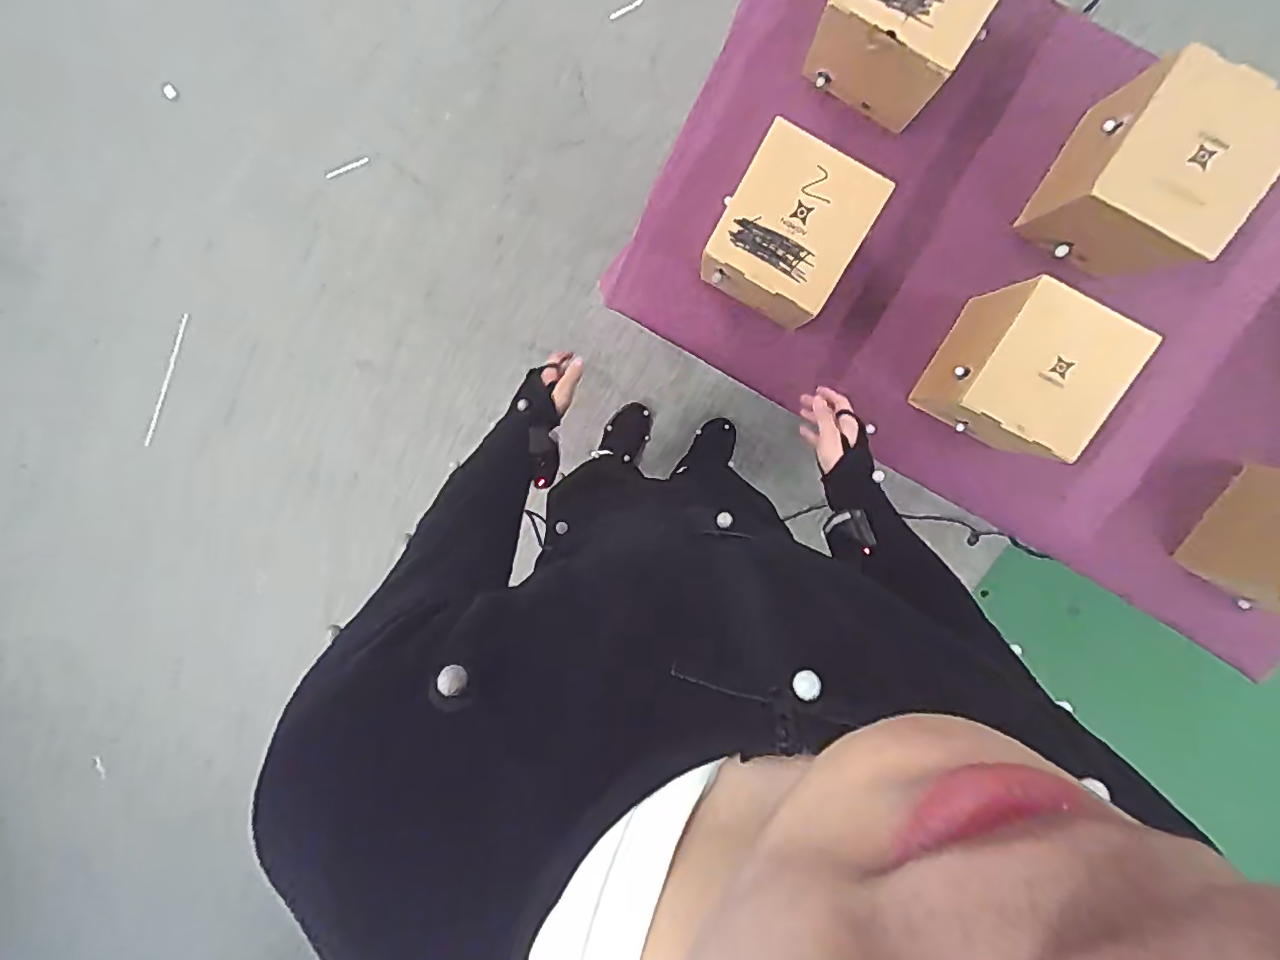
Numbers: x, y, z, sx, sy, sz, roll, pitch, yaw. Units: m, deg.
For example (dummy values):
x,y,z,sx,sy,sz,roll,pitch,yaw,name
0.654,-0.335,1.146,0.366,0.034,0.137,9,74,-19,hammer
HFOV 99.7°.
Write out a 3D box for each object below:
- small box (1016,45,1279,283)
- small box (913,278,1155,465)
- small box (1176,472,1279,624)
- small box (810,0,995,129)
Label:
x,y,z,sx,sy,sz,roll,pitch,yaw,name
0.635,-0.379,0.686,0.168,0.176,0.179,30,103,0,small box
0.514,-0.145,0.740,0.168,0.176,0.179,28,102,-1,small box
0.920,0.106,0.742,0.168,0.176,0.179,31,101,1,small box
0.332,-0.586,0.672,0.168,0.176,0.179,31,103,-2,small box
